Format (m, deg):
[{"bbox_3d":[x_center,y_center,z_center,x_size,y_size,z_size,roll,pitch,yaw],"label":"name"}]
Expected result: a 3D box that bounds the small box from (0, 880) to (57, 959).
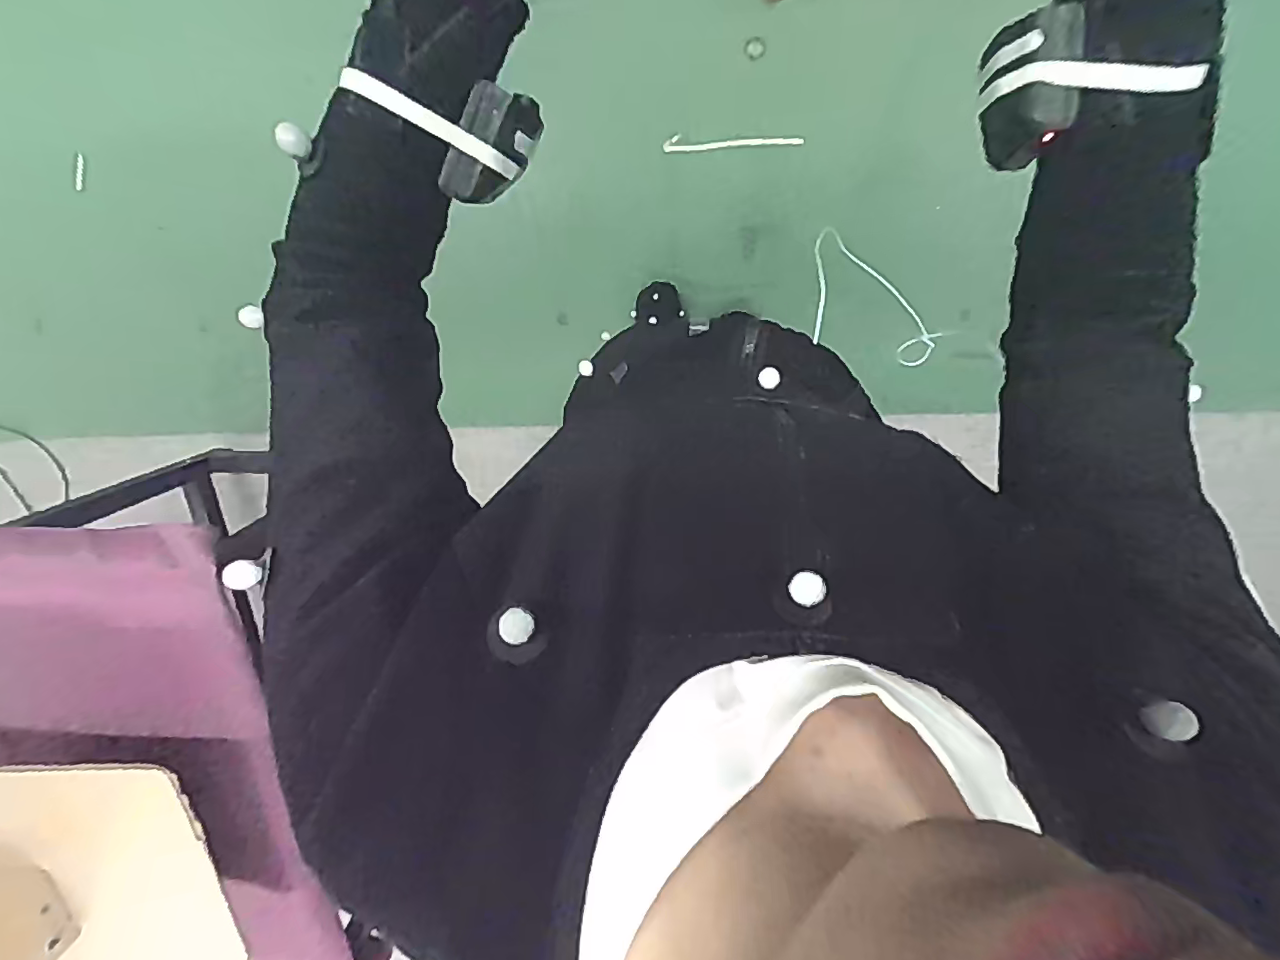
[{"bbox_3d":[-1.053,0.735,0.814,0.179,0.176,0.168,-1,110,4],"label":"small box"}]
